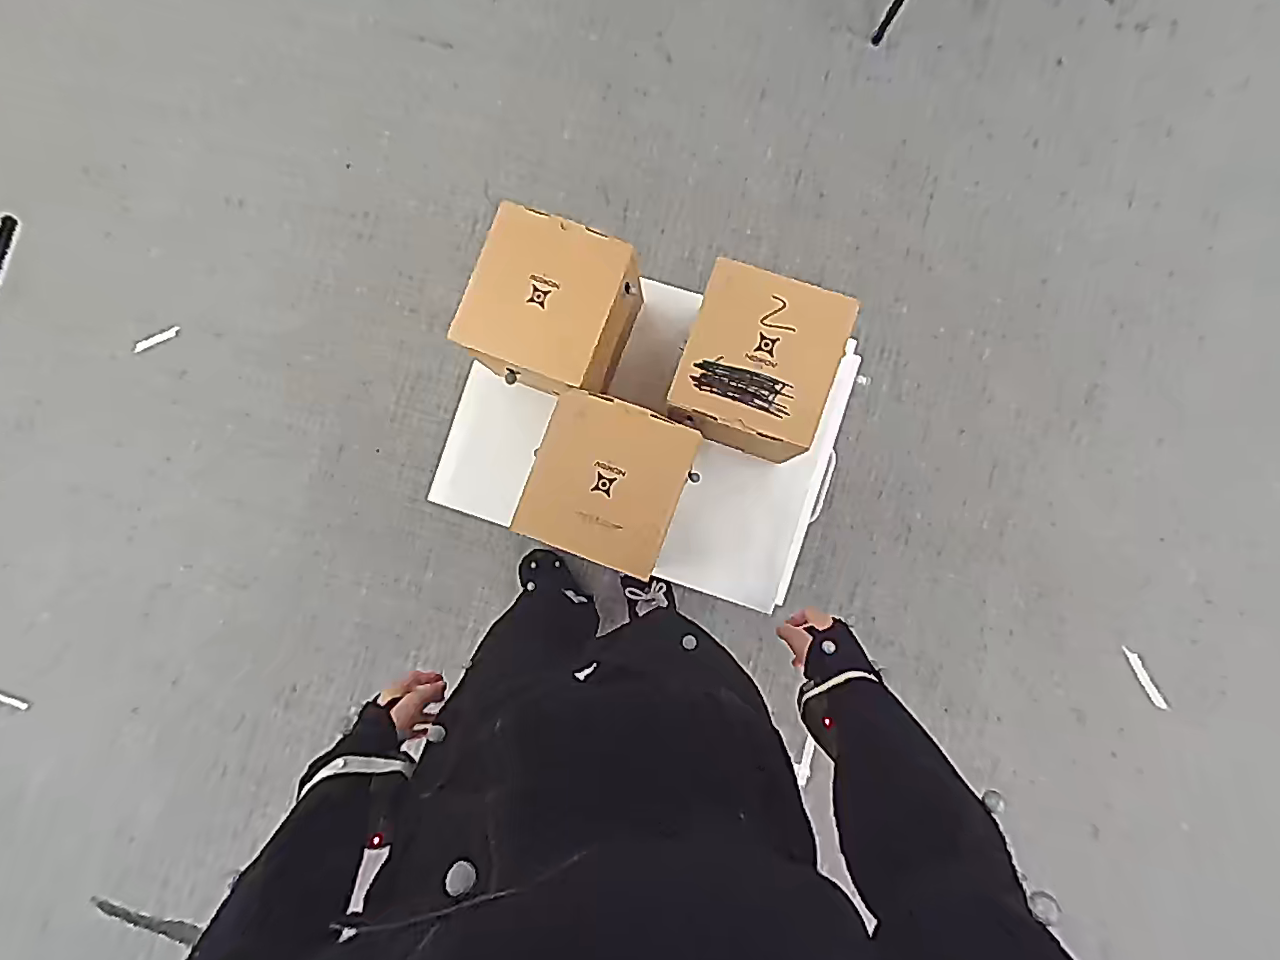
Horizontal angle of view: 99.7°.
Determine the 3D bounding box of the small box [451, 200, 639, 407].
[{"bbox_3d":[-0.105,-0.207,0.686,0.168,0.176,0.179,21,88,4],"label":"small box"}]
